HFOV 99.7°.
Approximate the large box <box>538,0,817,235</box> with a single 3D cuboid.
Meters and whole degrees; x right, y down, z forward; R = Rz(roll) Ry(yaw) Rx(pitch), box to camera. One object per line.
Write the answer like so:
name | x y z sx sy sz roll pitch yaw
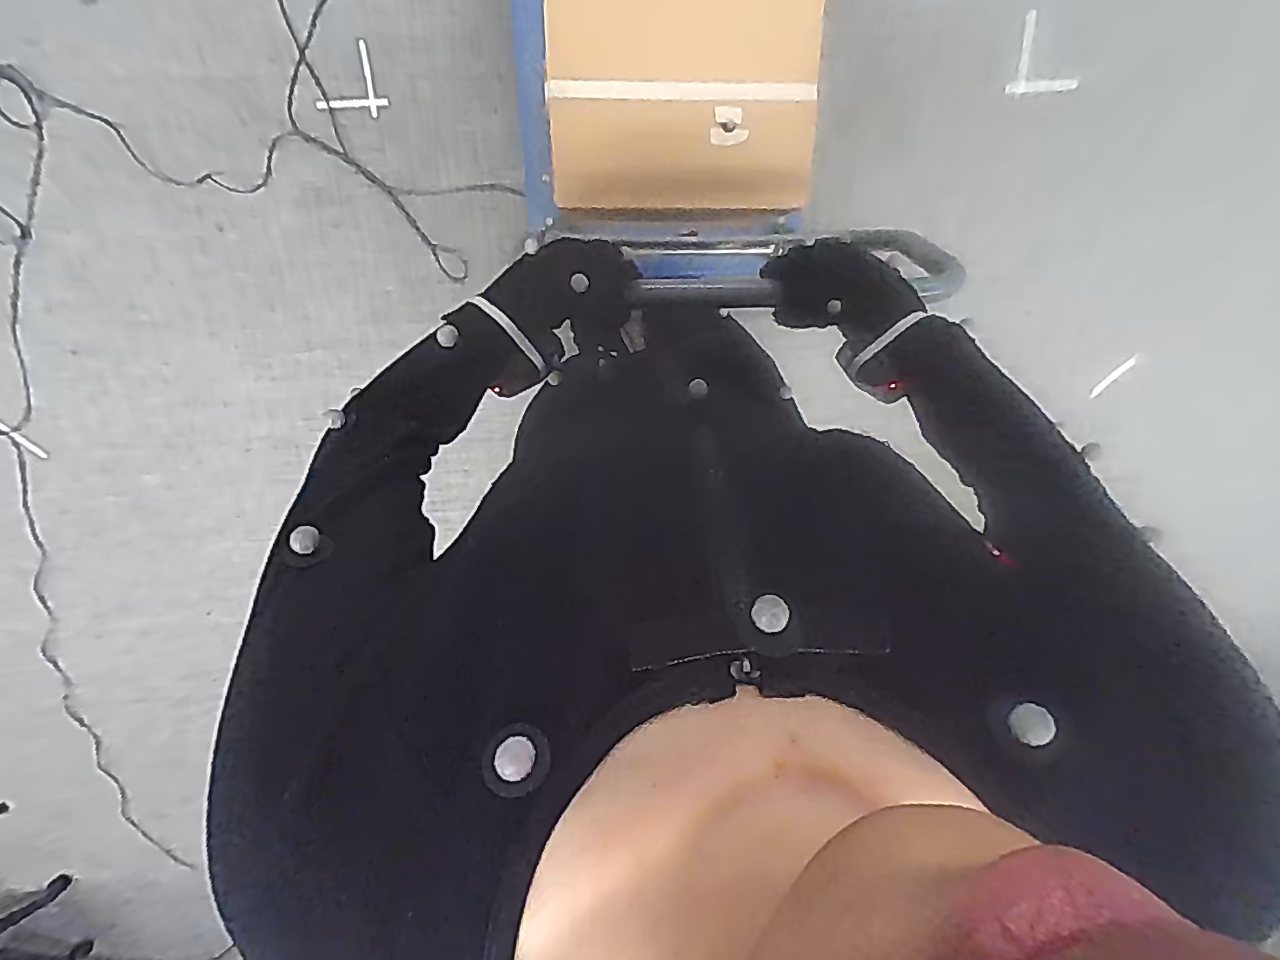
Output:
large box | 0.046 -0.614 0.943 0.408 0.320 0.320 -3 111 -5
